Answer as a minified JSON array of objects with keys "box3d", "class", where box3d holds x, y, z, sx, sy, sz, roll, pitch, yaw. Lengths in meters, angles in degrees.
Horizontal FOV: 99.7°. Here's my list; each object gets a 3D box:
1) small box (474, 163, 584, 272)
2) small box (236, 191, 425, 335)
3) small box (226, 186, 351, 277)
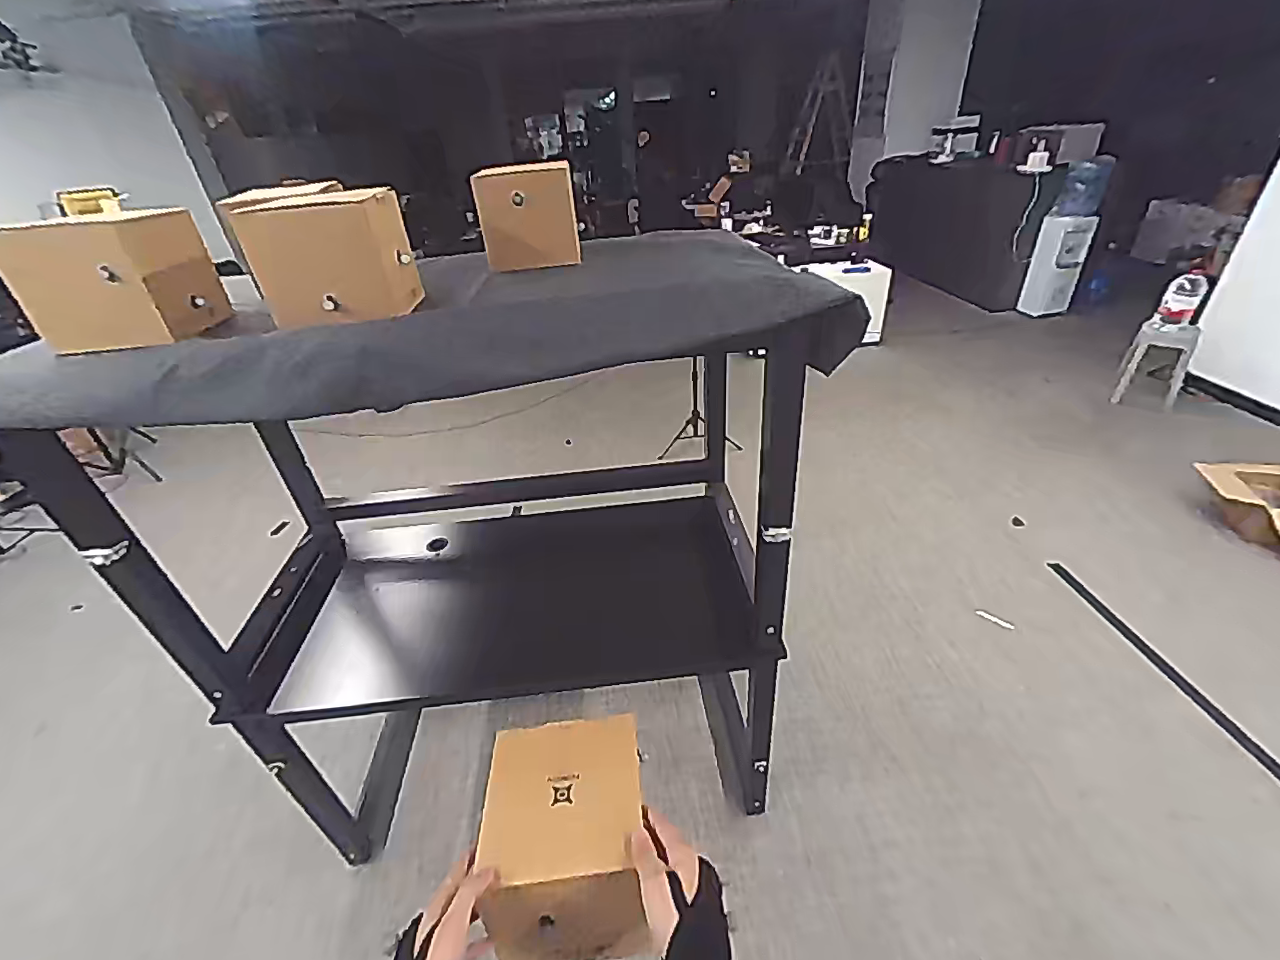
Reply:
[{"box3d":[-0.210,-0.522,1.075,0.179,0.176,0.168,-6,34,-2],"class":"small box"},{"box3d":[-0.449,-0.332,0.824,0.179,0.176,0.168,-6,33,-3],"class":"small box"},{"box3d":[-0.638,-0.461,1.044,0.168,0.176,0.179,-11,34,-7],"class":"small box"}]
